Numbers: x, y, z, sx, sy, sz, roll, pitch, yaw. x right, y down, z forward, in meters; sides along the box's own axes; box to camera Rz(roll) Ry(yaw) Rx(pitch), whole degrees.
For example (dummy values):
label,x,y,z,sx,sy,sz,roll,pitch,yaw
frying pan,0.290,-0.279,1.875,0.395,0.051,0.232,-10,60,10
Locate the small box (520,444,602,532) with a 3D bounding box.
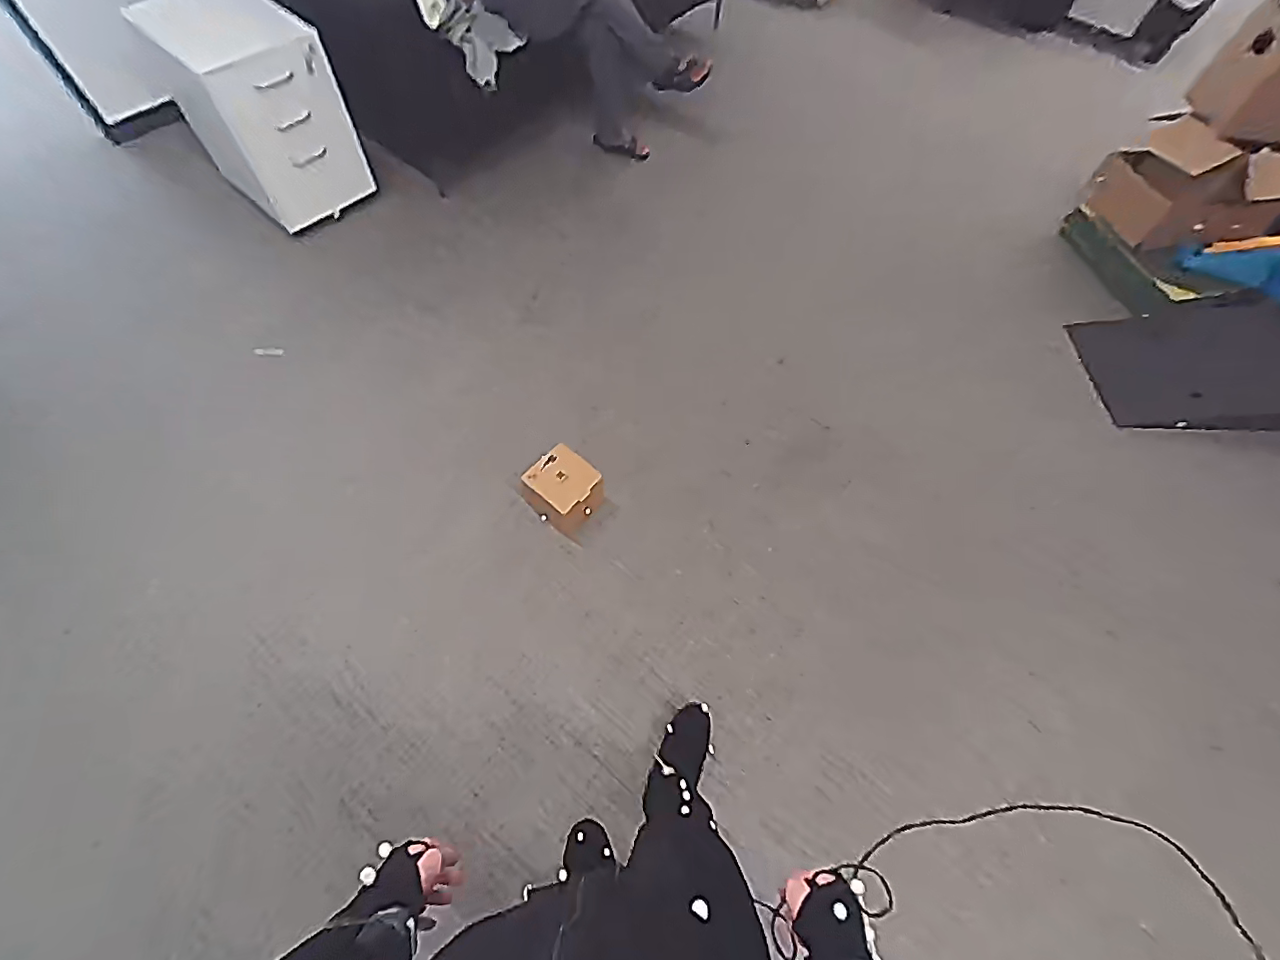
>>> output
label,x,y,z,sx,sy,sz,roll,pitch,yaw
small box,-0.228,0.034,1.604,0.179,0.176,0.168,38,65,16
